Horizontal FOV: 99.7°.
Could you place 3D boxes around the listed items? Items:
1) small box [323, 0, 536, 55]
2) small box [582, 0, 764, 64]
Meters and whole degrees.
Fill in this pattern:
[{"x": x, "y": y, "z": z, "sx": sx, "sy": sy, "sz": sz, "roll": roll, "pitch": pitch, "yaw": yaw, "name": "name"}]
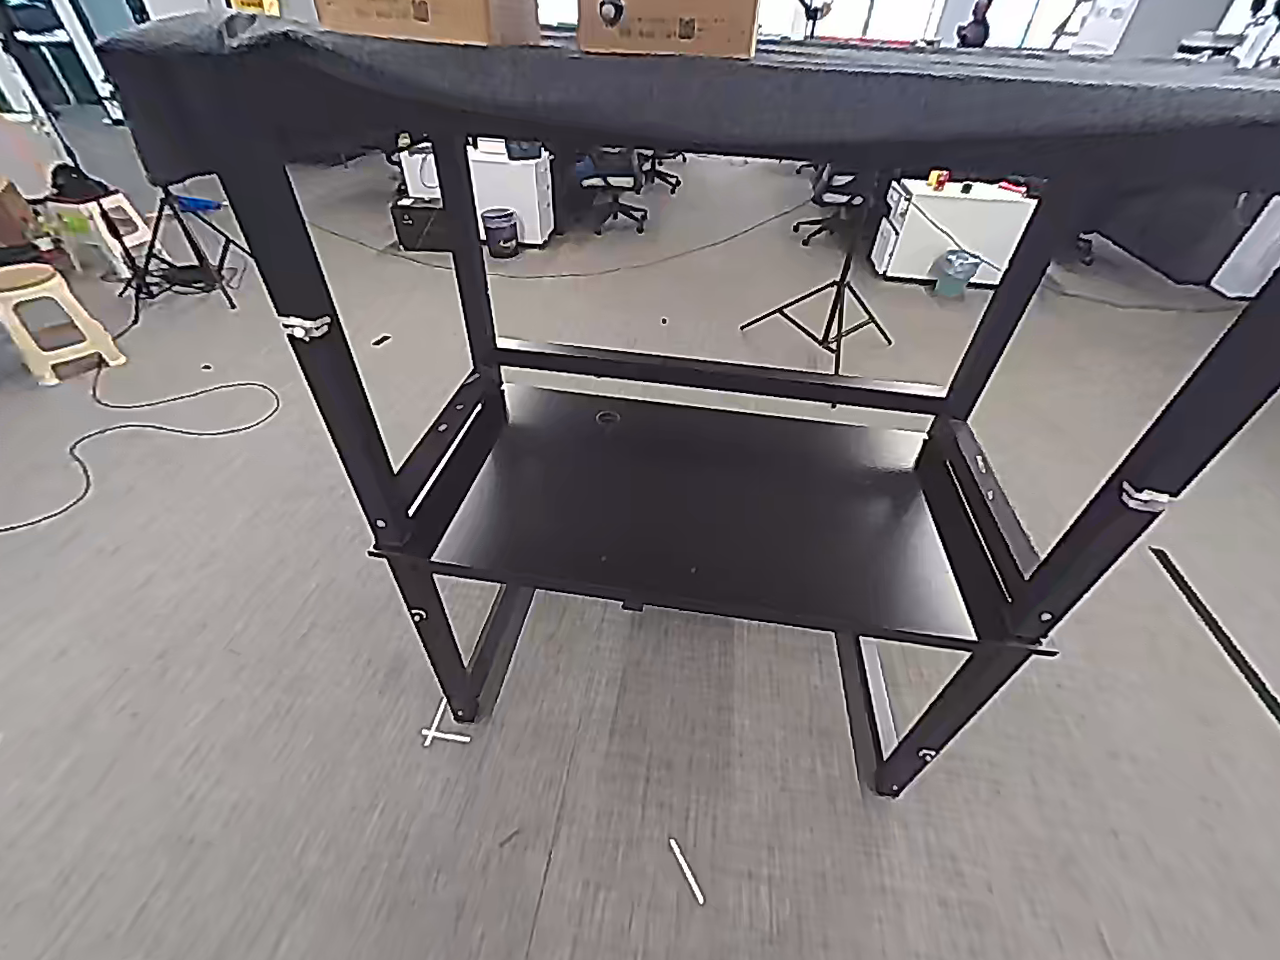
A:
[{"x": -0.203, "y": -0.521, "z": 0.521, "sx": 0.168, "sy": 0.176, "sz": 0.179, "roll": 8, "pitch": 39, "yaw": 4, "name": "small box"}, {"x": 0.040, "y": -0.509, "z": 0.520, "sx": 0.168, "sy": 0.176, "sz": 0.179, "roll": 8, "pitch": 39, "yaw": 6, "name": "small box"}]
